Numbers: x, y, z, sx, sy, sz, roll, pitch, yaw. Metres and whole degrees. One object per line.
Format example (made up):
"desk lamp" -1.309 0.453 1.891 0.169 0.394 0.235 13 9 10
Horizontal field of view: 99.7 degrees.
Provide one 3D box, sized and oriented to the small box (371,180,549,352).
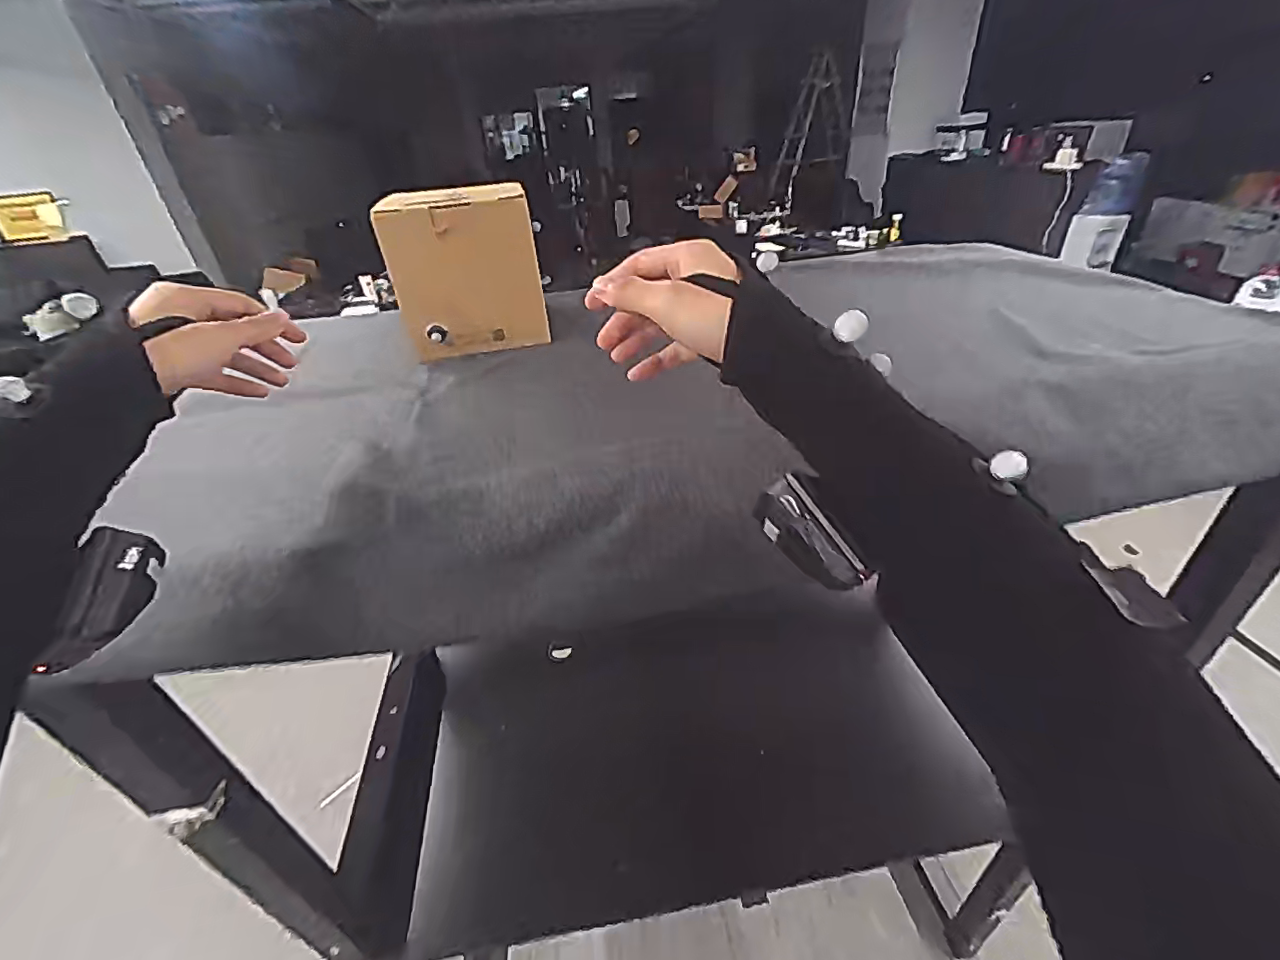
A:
"small box" -0.213 -0.269 0.682 0.168 0.176 0.179 -10 34 -9
